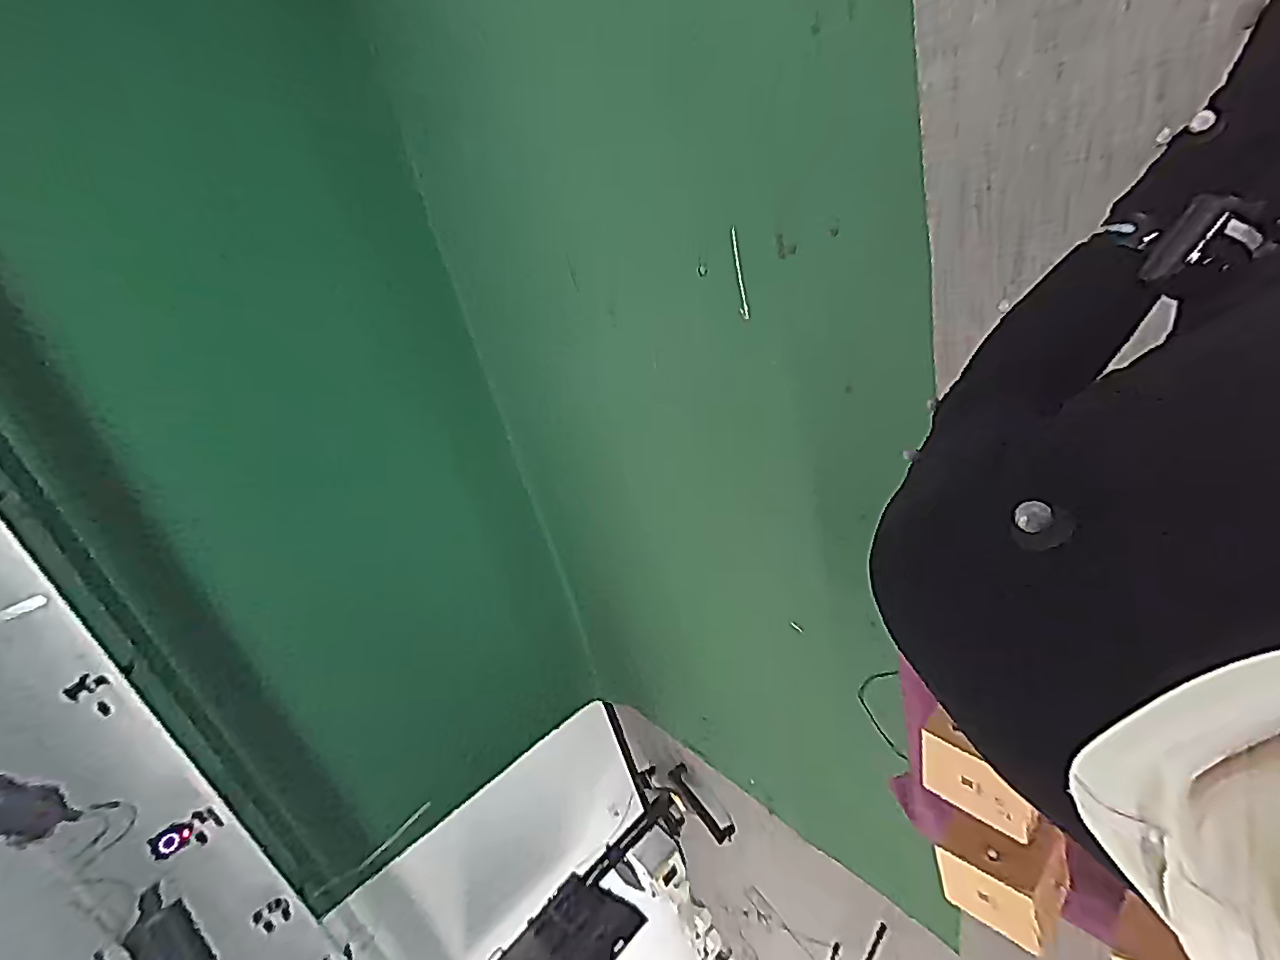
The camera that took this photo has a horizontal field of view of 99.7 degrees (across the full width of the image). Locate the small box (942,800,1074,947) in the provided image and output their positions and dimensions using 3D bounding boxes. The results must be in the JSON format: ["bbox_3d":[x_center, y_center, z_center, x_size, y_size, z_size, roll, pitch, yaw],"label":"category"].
[{"bbox_3d":[0.759,0.780,1.115,0.179,0.176,0.168,3,117,52],"label":"small box"}]

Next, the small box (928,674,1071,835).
[{"bbox_3d":[0.664,0.496,1.008,0.179,0.176,0.168,16,129,48],"label":"small box"}]

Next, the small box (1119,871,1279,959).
[{"bbox_3d":[0.933,0.798,0.883,0.168,0.176,0.179,-19,100,58],"label":"small box"}]
